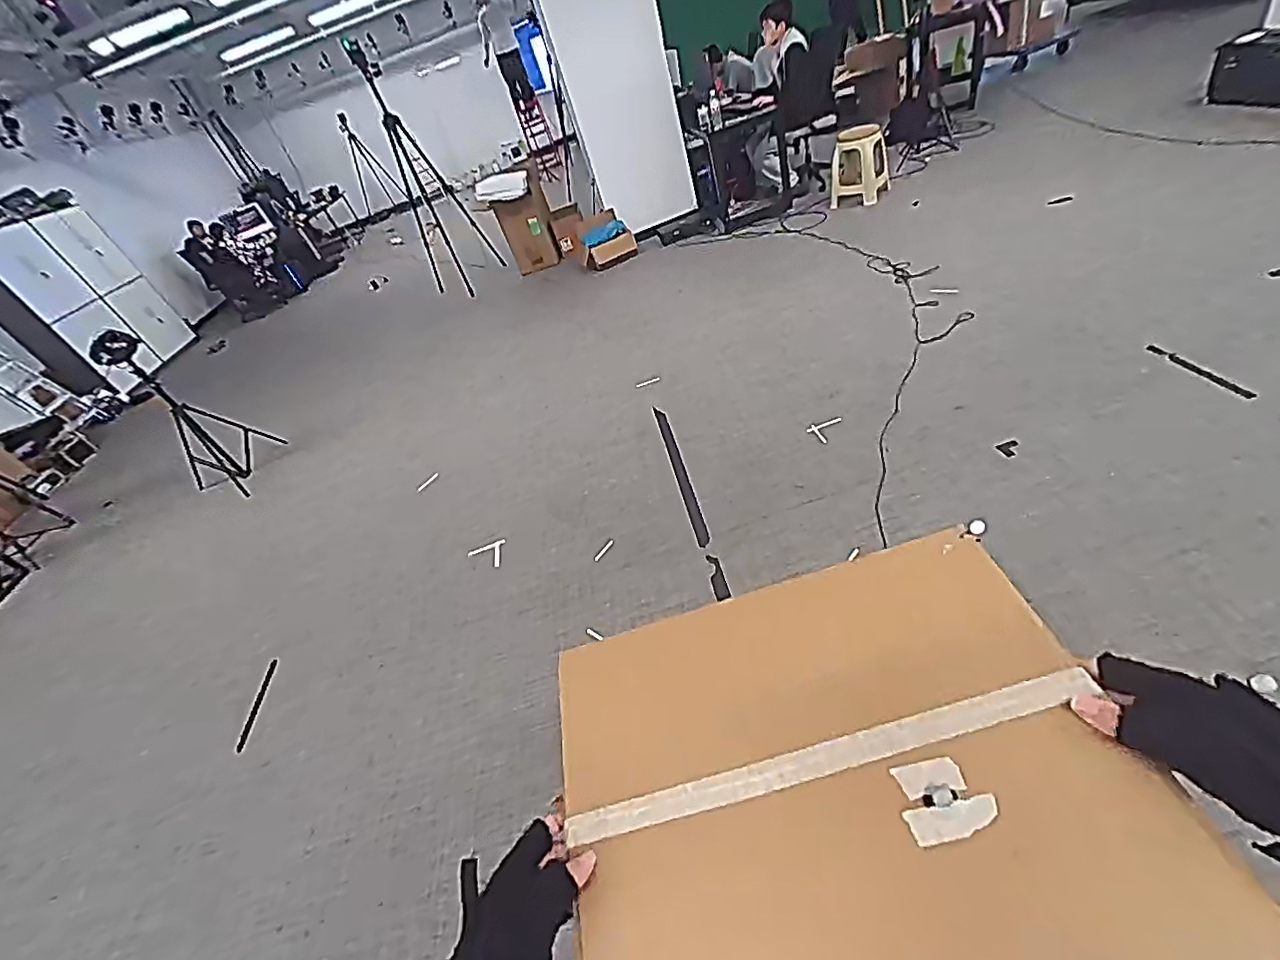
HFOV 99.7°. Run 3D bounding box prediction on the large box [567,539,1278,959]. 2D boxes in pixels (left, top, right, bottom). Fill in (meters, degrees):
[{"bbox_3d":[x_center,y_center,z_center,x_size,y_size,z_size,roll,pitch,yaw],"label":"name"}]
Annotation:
[{"bbox_3d":[0.181,0.322,0.517,0.408,0.320,0.320,-19,44,4],"label":"large box"}]
